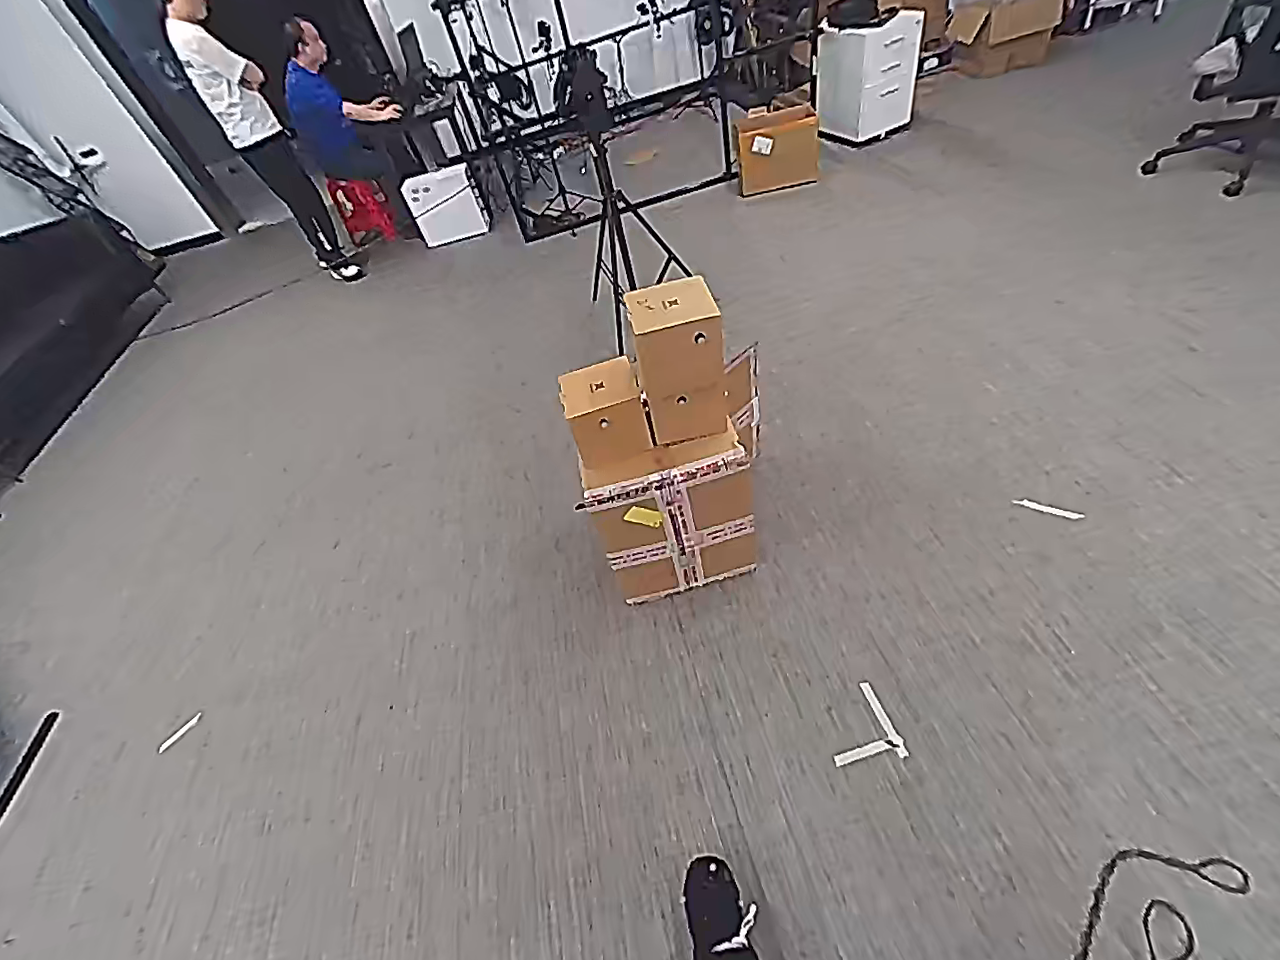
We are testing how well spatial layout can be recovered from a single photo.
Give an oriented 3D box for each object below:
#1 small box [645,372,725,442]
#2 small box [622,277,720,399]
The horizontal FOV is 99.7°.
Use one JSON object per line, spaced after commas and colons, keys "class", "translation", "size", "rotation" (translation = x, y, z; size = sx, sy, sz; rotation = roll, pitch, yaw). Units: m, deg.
{"class": "small box", "translation": [0.100, -0.210, 1.290], "size": [0.179, 0.176, 0.168], "rotation": [-11, 48, 3]}
{"class": "small box", "translation": [0.070, -0.299, 1.152], "size": [0.179, 0.176, 0.168], "rotation": [-14, 47, 1]}
